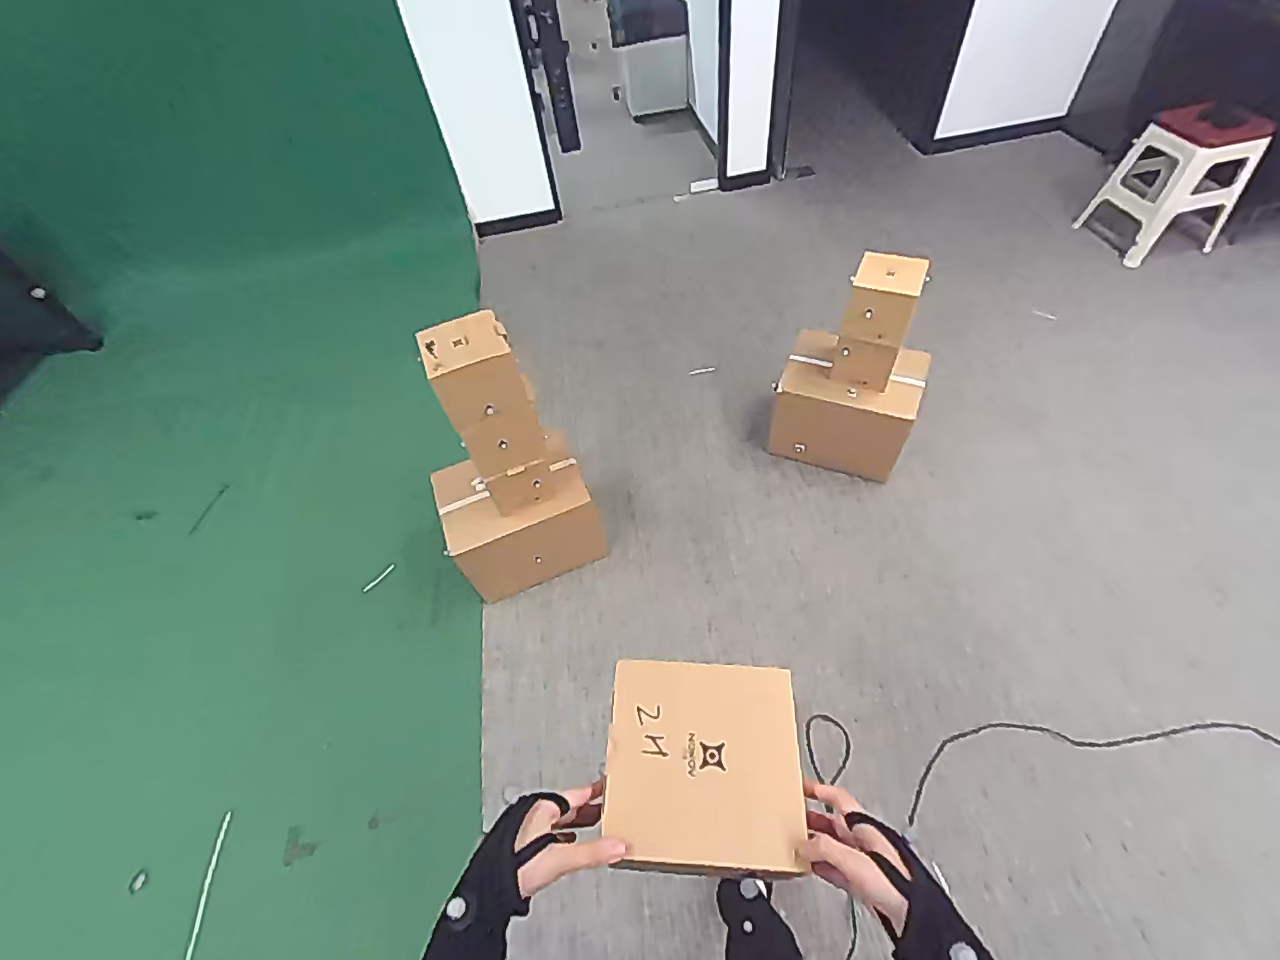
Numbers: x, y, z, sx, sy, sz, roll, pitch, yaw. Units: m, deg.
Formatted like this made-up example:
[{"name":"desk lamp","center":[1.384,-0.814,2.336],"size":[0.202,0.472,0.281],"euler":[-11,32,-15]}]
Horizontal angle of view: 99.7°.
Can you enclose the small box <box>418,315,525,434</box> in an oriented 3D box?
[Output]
[{"name":"small box","center":[-0.367,-0.232,1.201],"size":[0.179,0.176,0.168],"euler":[-21,53,-11]}]

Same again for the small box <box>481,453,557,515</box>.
[{"name":"small box","center":[-0.335,-0.027,1.456],"size":[0.168,0.176,0.179],"euler":[-21,53,-10]}]

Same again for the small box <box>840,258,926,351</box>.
[{"name":"small box","center":[0.659,-0.477,1.479],"size":[0.168,0.176,0.179],"euler":[17,54,19]}]

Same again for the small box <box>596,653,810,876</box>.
[{"name":"small box","center":[0.057,0.290,0.547],"size":[0.179,0.176,0.168],"euler":[2,51,3]}]

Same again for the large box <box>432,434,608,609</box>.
[{"name":"large box","center":[-0.356,0.129,1.647],"size":[0.408,0.320,0.320],"euler":[-23,52,-9]}]

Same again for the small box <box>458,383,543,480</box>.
[{"name":"small box","center":[-0.348,-0.131,1.330],"size":[0.179,0.176,0.168],"euler":[-22,53,-10]}]
